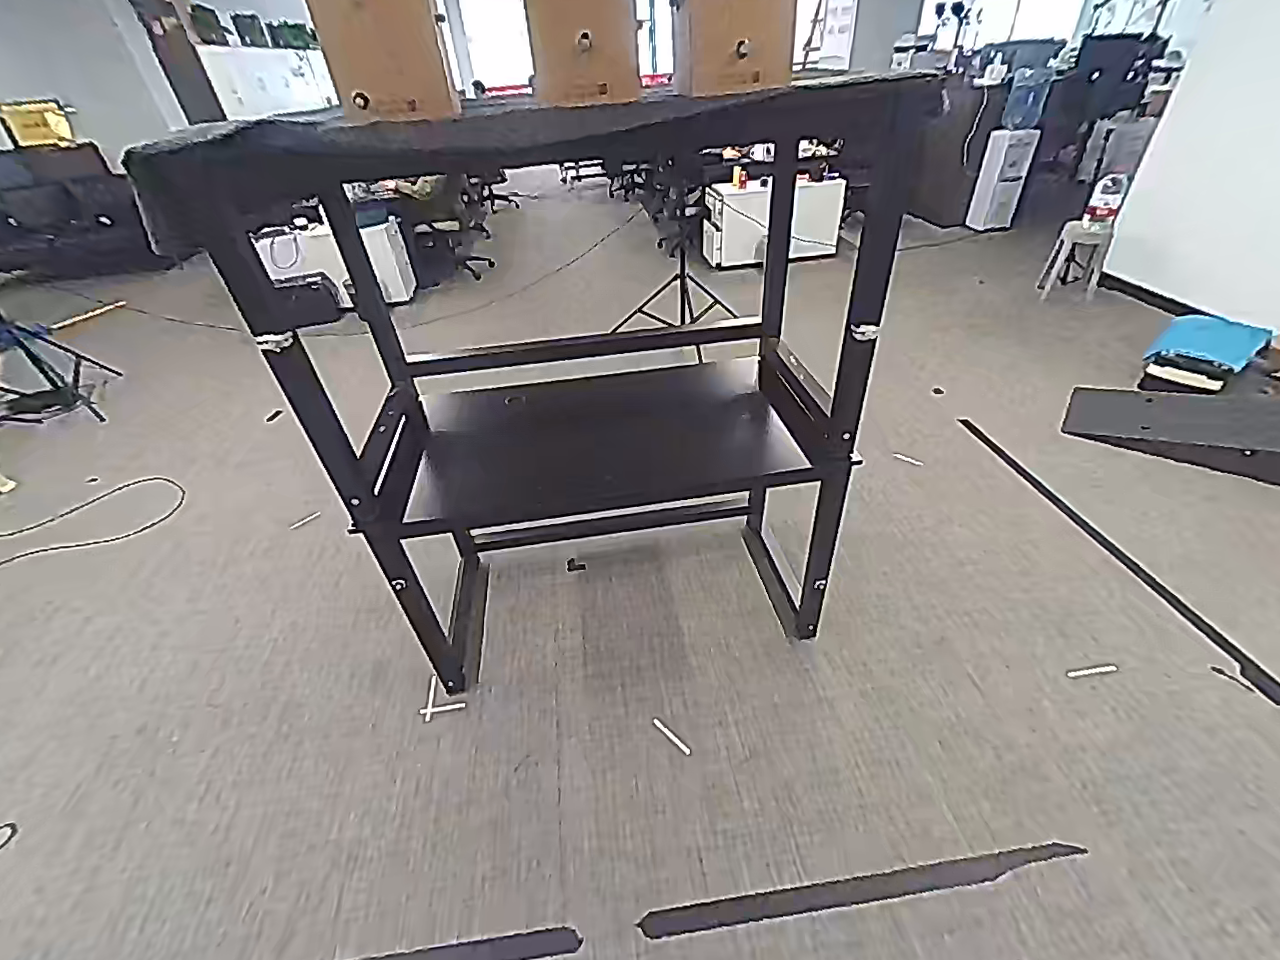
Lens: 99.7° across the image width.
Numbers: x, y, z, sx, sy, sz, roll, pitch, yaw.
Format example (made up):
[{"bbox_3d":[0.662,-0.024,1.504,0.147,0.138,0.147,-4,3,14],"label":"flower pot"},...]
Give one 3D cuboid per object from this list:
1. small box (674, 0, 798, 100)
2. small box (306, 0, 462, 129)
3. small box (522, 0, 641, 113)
[{"bbox_3d":[0.147,-0.728,0.880,0.168,0.176,0.179,-8,38,-2],"label":"small box"},{"bbox_3d":[-0.389,-0.665,0.857,0.168,0.176,0.179,-10,36,-7],"label":"small box"},{"bbox_3d":[-0.089,-0.700,0.871,0.168,0.176,0.179,-5,38,-2],"label":"small box"}]
